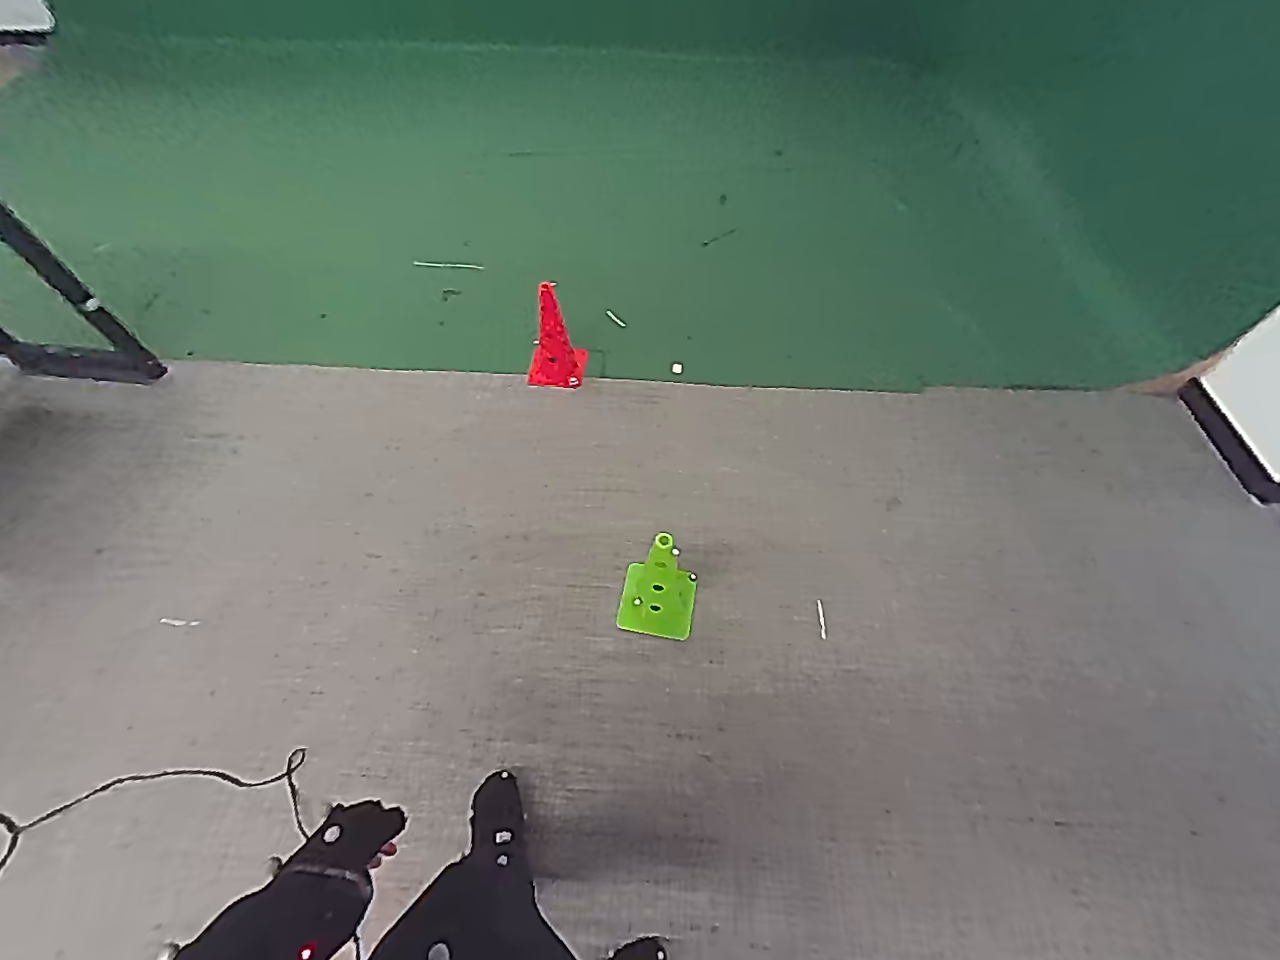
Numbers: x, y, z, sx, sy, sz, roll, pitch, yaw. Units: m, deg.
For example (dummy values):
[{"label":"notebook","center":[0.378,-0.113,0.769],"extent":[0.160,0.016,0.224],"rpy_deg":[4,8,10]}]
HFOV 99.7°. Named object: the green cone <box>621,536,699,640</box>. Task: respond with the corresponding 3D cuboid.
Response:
[{"label":"green cone","center":[0.057,0.243,1.378],"extent":[0.200,0.368,0.202],"rpy_deg":[8,55,6]}]
